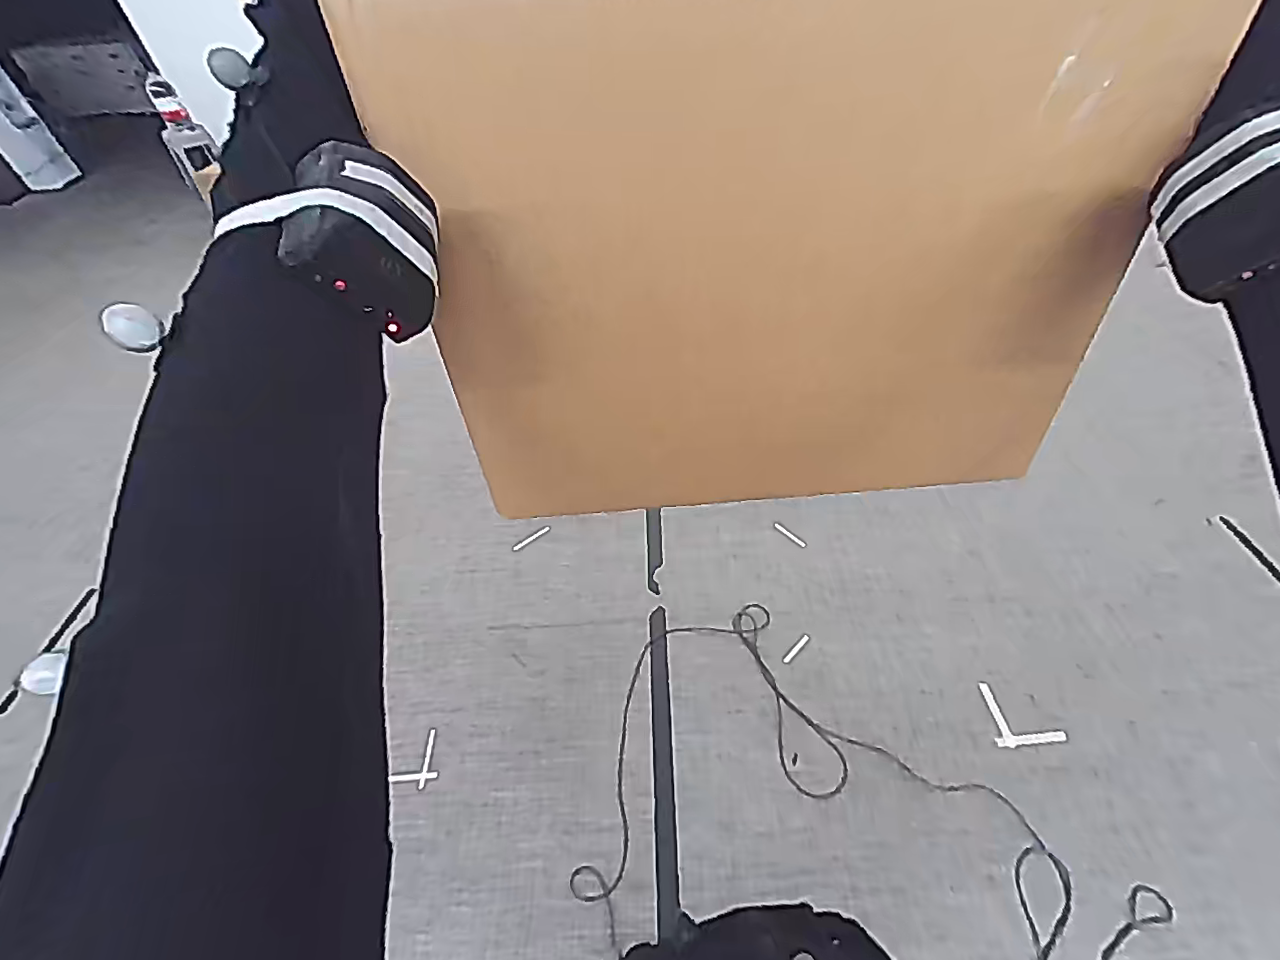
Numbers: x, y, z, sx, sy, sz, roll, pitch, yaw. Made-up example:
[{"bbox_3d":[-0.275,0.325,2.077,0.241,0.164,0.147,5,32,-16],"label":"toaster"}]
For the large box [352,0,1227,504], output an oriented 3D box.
[{"bbox_3d":[0.073,-0.204,0.435,0.408,0.320,0.320,-4,41,1],"label":"large box"}]
